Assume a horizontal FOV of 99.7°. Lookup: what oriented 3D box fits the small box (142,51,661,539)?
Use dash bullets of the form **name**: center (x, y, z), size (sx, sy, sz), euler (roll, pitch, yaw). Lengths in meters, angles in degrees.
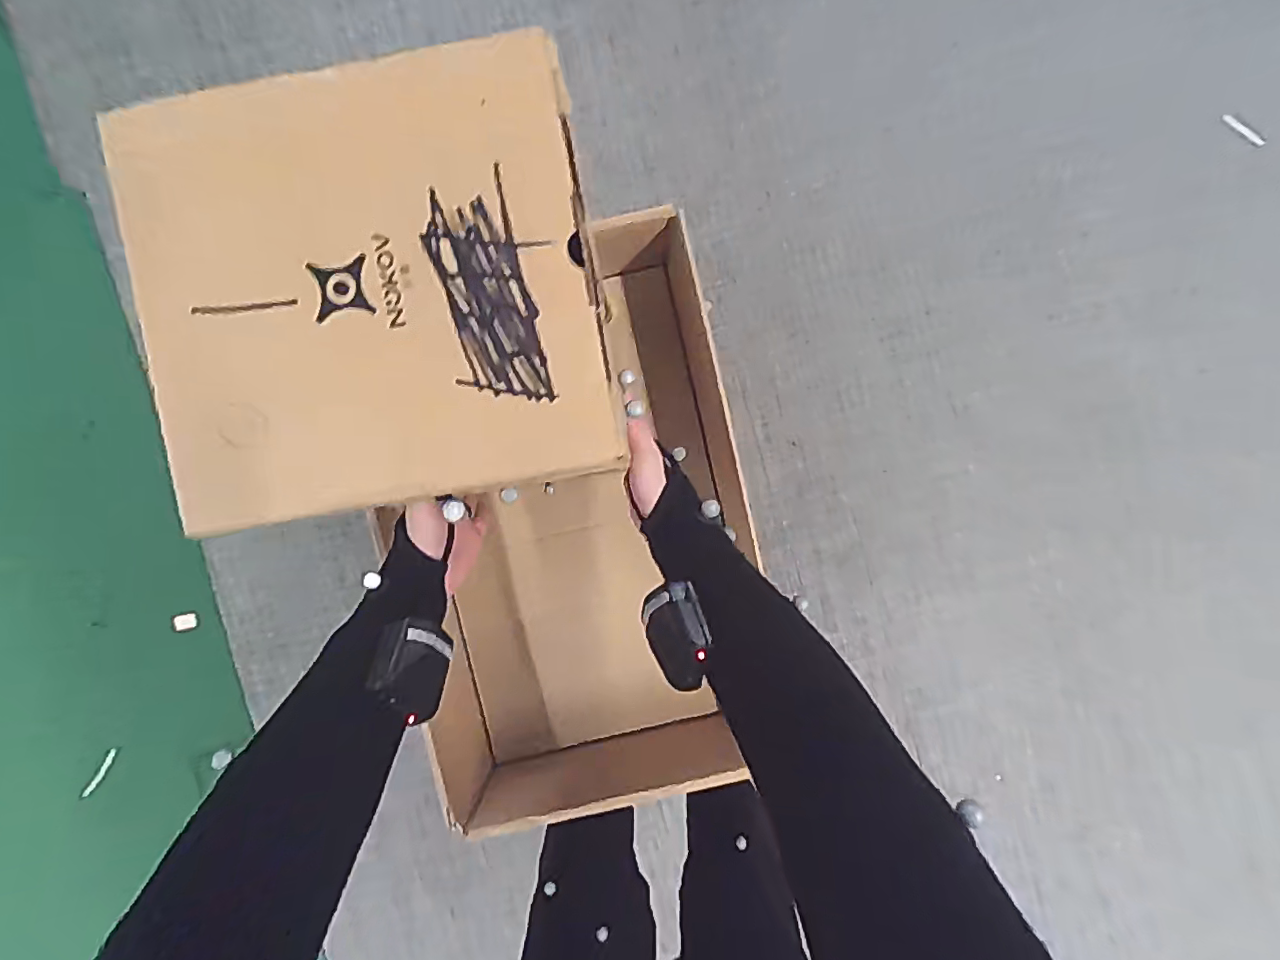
- **small box**: center (-0.091, -0.073, 0.287), size (0.179, 0.176, 0.168), euler (-9, 92, 0)
